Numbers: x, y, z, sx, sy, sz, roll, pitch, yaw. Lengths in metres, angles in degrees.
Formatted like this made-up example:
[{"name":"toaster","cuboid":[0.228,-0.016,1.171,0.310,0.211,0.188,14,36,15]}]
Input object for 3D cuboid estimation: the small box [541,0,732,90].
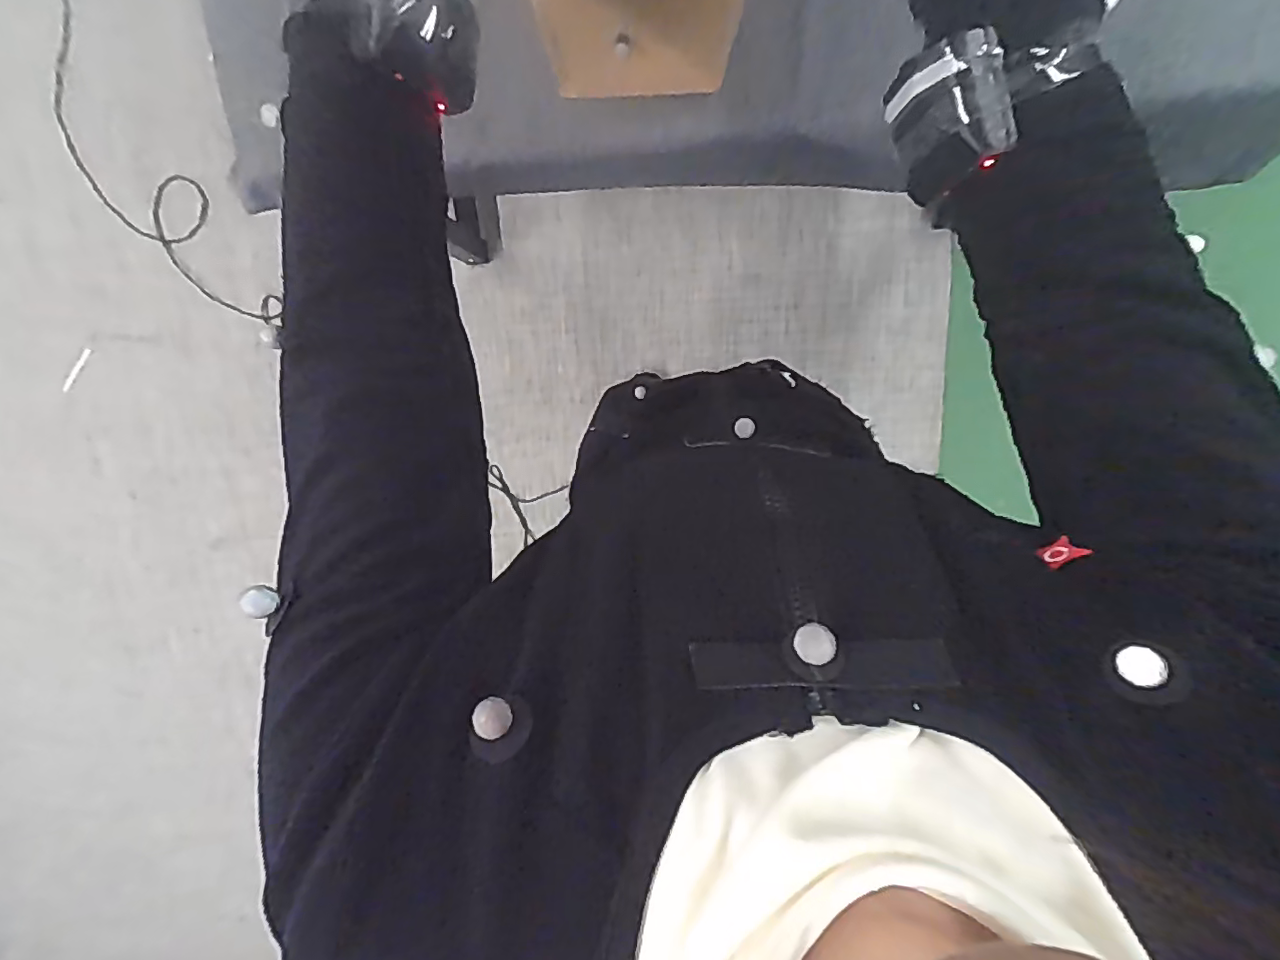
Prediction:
[{"name":"small box","cuboid":[-0.003,-0.494,0.503,0.179,0.176,0.168,-1,101,1]}]
